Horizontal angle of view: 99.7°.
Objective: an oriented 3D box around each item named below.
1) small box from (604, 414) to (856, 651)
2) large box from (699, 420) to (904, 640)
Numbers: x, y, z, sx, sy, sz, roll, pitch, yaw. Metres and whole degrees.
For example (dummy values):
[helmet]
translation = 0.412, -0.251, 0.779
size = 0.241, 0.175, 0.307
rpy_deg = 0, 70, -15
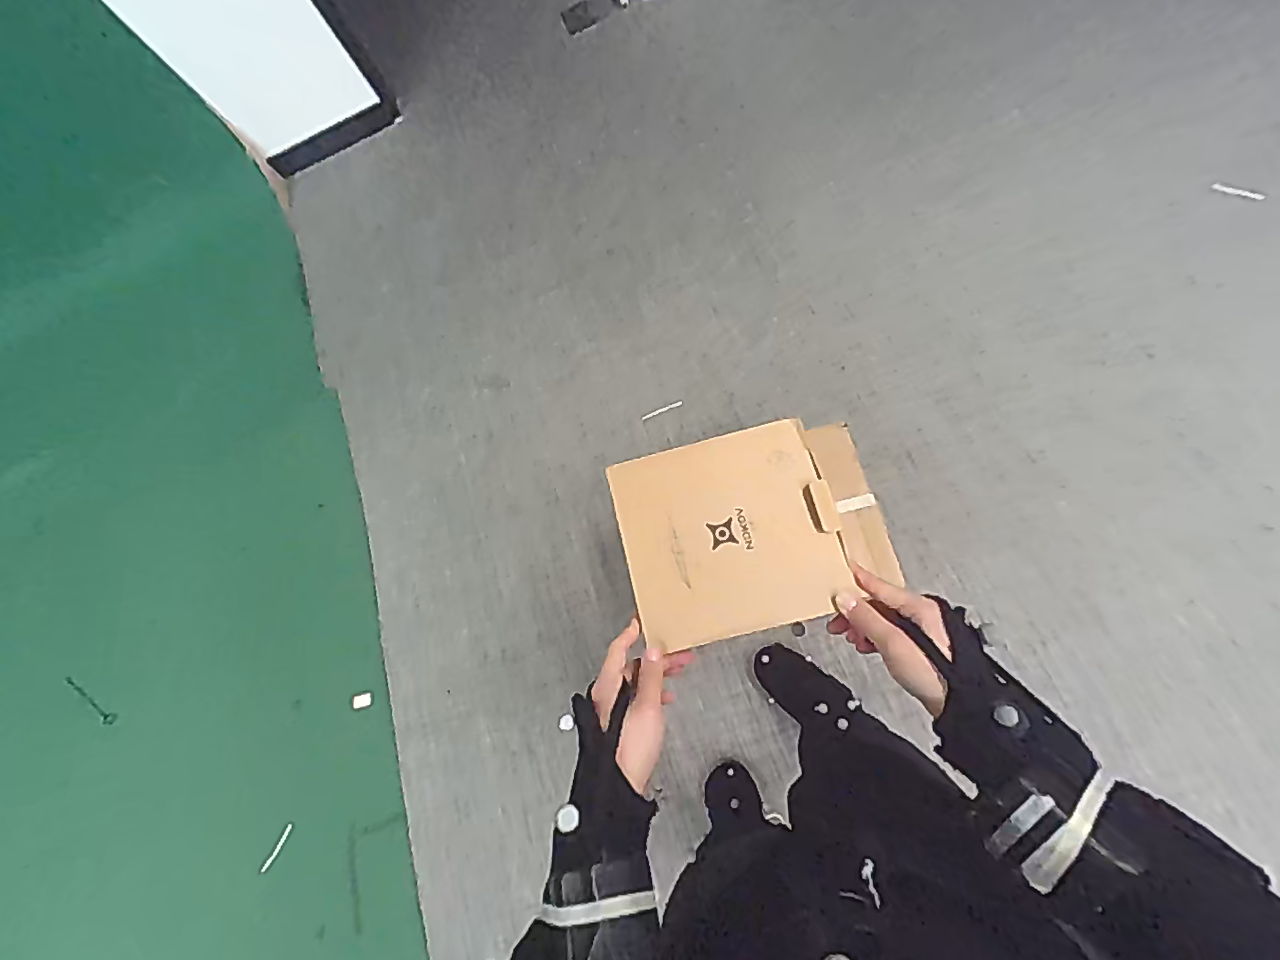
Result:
[small box]
translation = 0.080, 0.059, 0.526
size = 0.179, 0.176, 0.168
rpy_deg = -16, 74, 5
[large box]
translation = 0.244, 0.125, 1.102
size = 0.408, 0.320, 0.320
rpy_deg = -16, 72, 7
